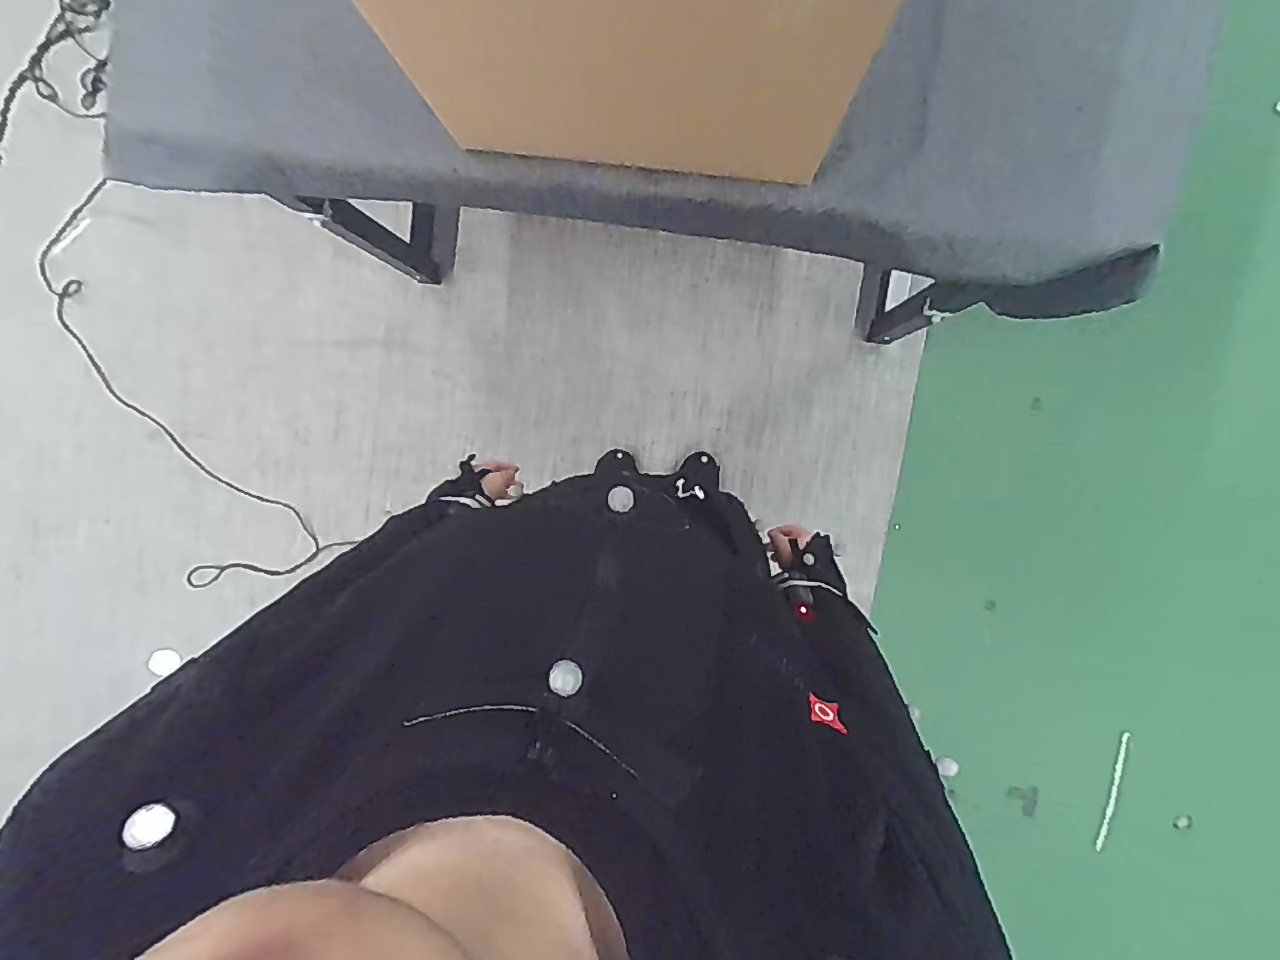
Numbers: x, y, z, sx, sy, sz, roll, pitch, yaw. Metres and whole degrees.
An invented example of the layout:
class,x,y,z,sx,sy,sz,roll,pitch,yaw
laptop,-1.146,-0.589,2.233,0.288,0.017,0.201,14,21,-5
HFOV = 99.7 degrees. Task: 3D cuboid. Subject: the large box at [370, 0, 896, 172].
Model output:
class,x,y,z,sx,sy,sz,roll,pitch,yaw
large box,0.001,-0.501,0.452,0.408,0.320,0.320,7,94,3
